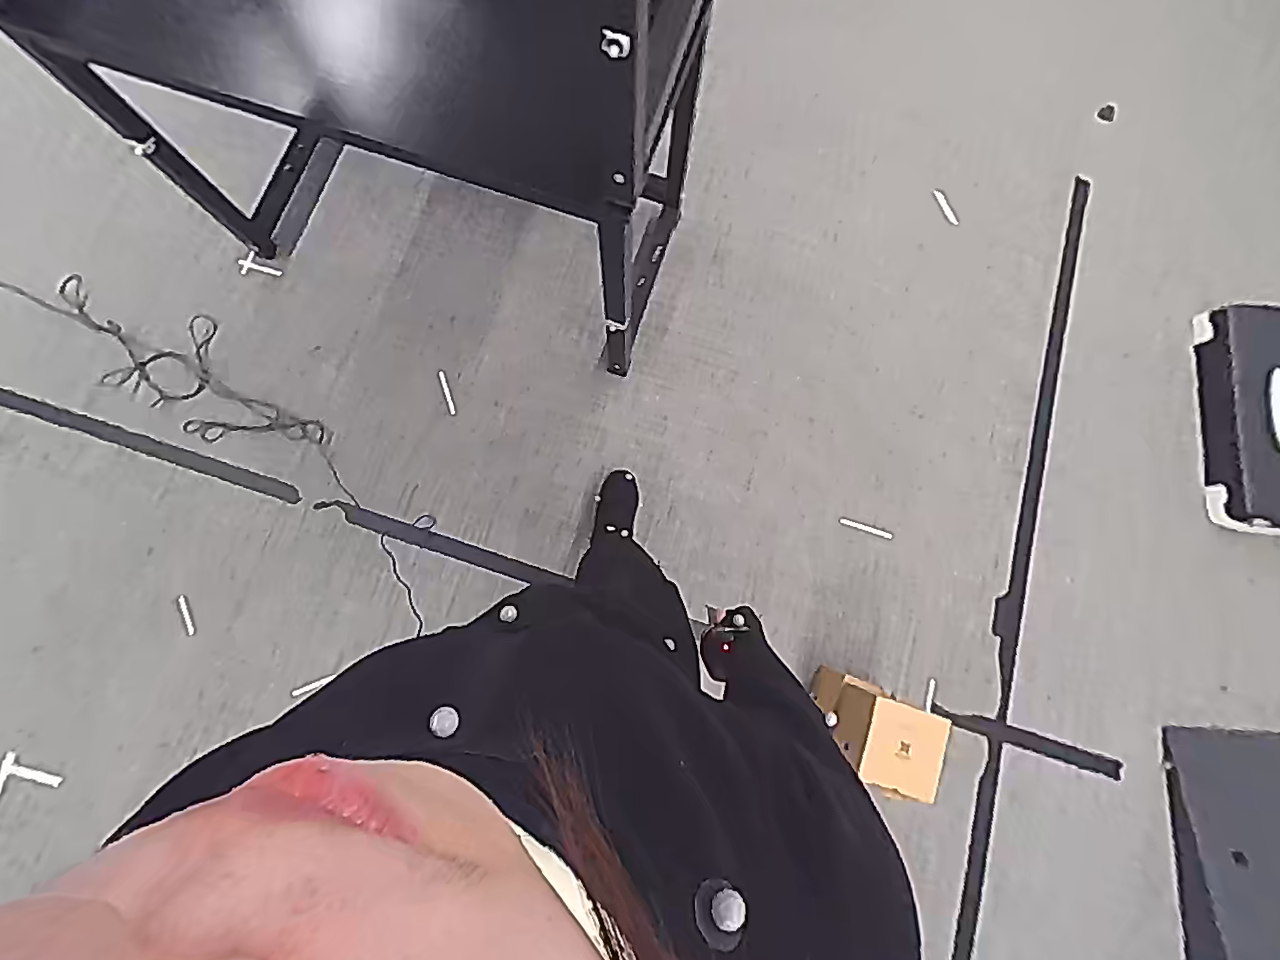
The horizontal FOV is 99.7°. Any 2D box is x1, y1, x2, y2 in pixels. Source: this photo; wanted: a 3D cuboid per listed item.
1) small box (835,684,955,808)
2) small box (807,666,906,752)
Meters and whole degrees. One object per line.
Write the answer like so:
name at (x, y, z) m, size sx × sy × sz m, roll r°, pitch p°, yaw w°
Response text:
small box at (0.552, 0.575, 1.194) m, size 0.168 × 0.176 × 0.179 m, roll 19°, pitch 79°, yaw 2°
small box at (0.539, 0.592, 1.357) m, size 0.168 × 0.176 × 0.179 m, roll 23°, pitch 81°, yaw 3°
